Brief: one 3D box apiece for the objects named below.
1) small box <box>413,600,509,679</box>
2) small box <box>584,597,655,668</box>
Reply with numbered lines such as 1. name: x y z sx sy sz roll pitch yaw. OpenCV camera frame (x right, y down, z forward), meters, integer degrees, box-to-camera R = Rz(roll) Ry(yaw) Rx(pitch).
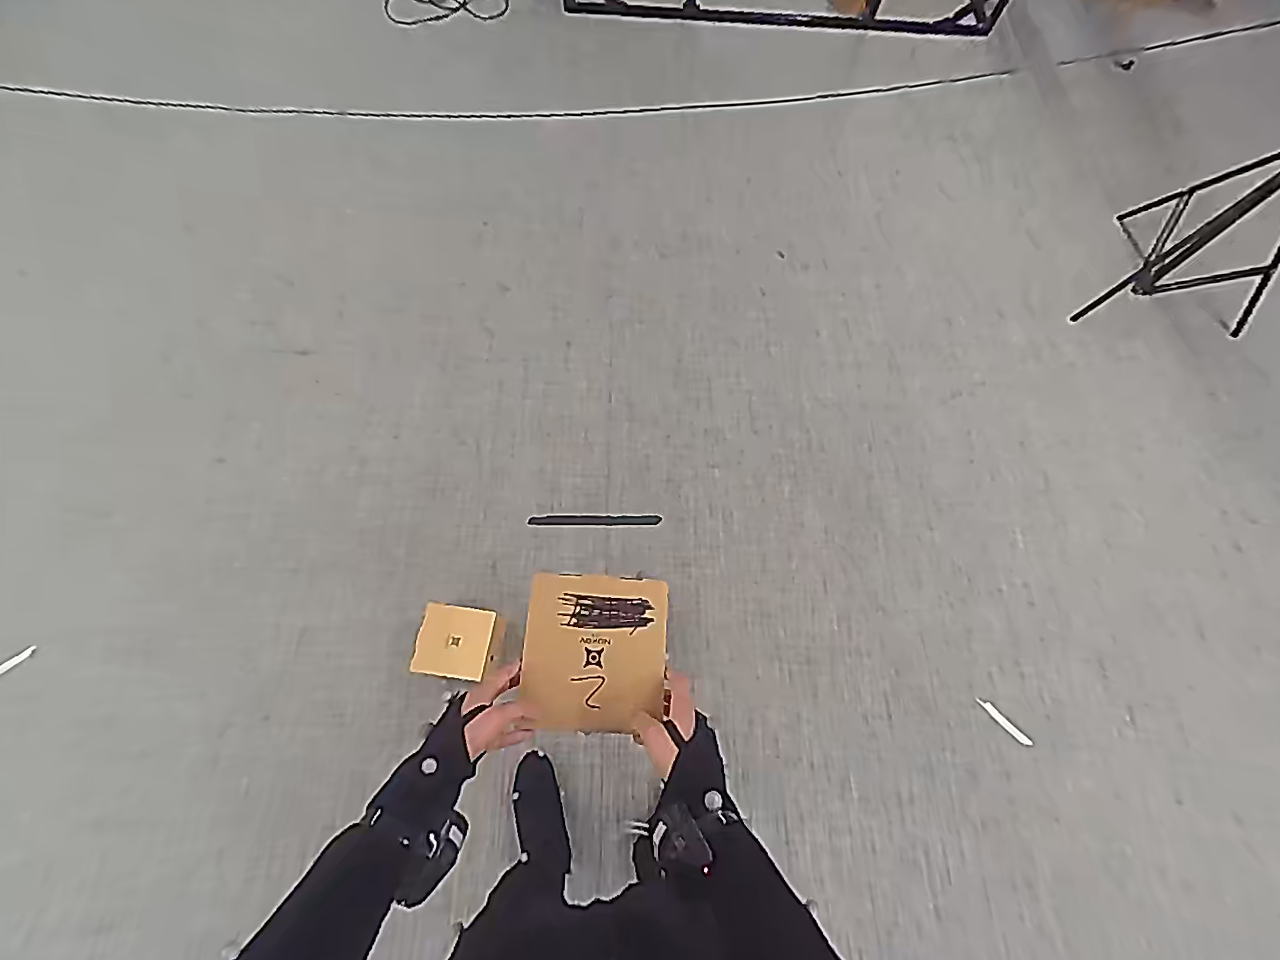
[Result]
1. small box: -0.450 0.413 1.390 0.179 0.176 0.168 8 69 1
2. small box: -0.054 0.402 1.413 0.179 0.176 0.168 0 69 -4
